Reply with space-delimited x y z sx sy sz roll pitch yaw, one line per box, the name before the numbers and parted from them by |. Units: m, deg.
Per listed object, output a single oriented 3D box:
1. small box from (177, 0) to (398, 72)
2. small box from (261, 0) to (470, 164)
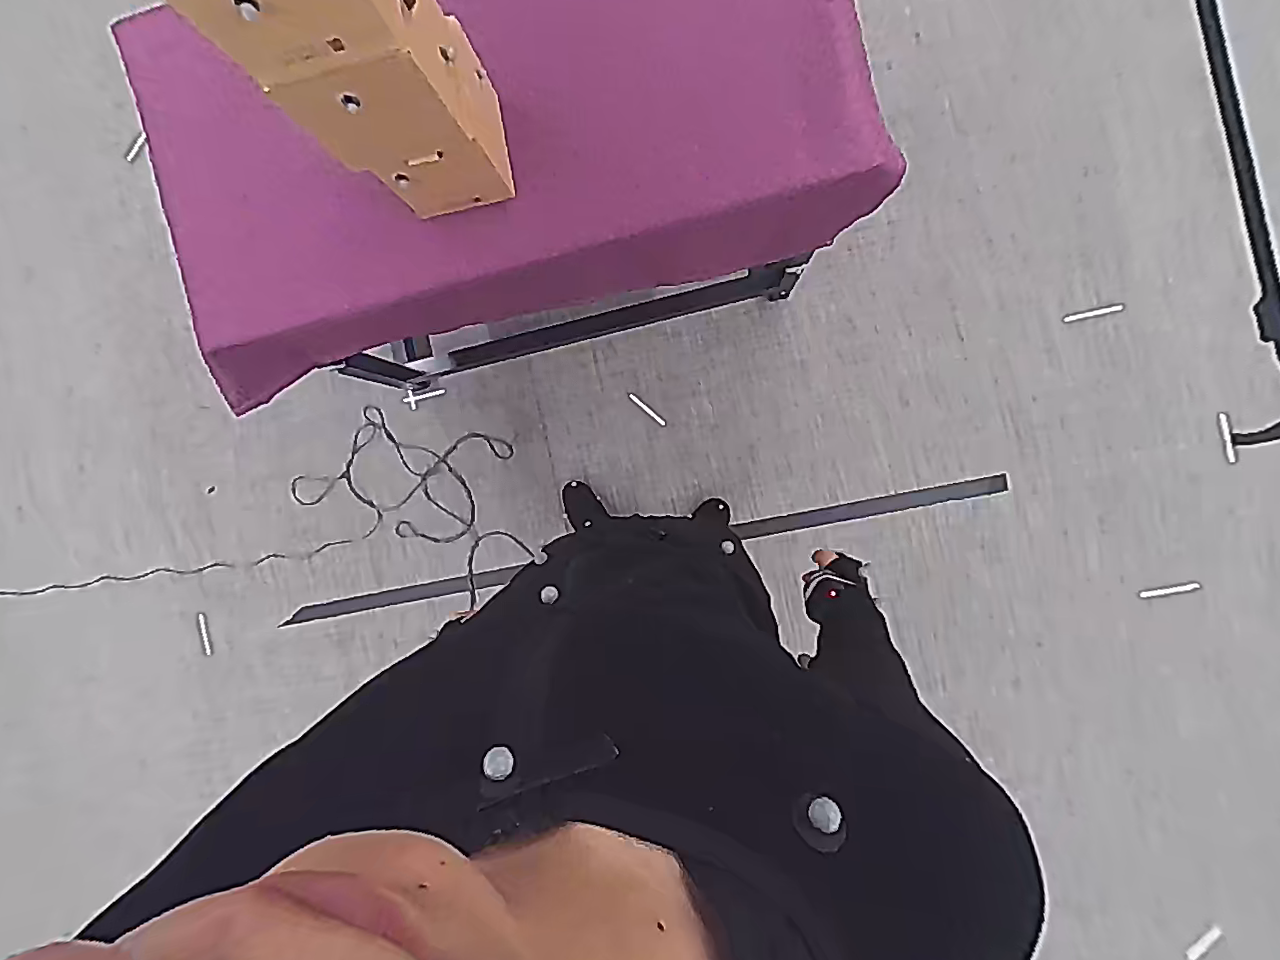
small box | -0.353 -0.529 0.506 0.168 0.176 0.179 -10 89 6
small box | -0.336 -0.526 0.668 0.179 0.176 0.168 -10 91 5
